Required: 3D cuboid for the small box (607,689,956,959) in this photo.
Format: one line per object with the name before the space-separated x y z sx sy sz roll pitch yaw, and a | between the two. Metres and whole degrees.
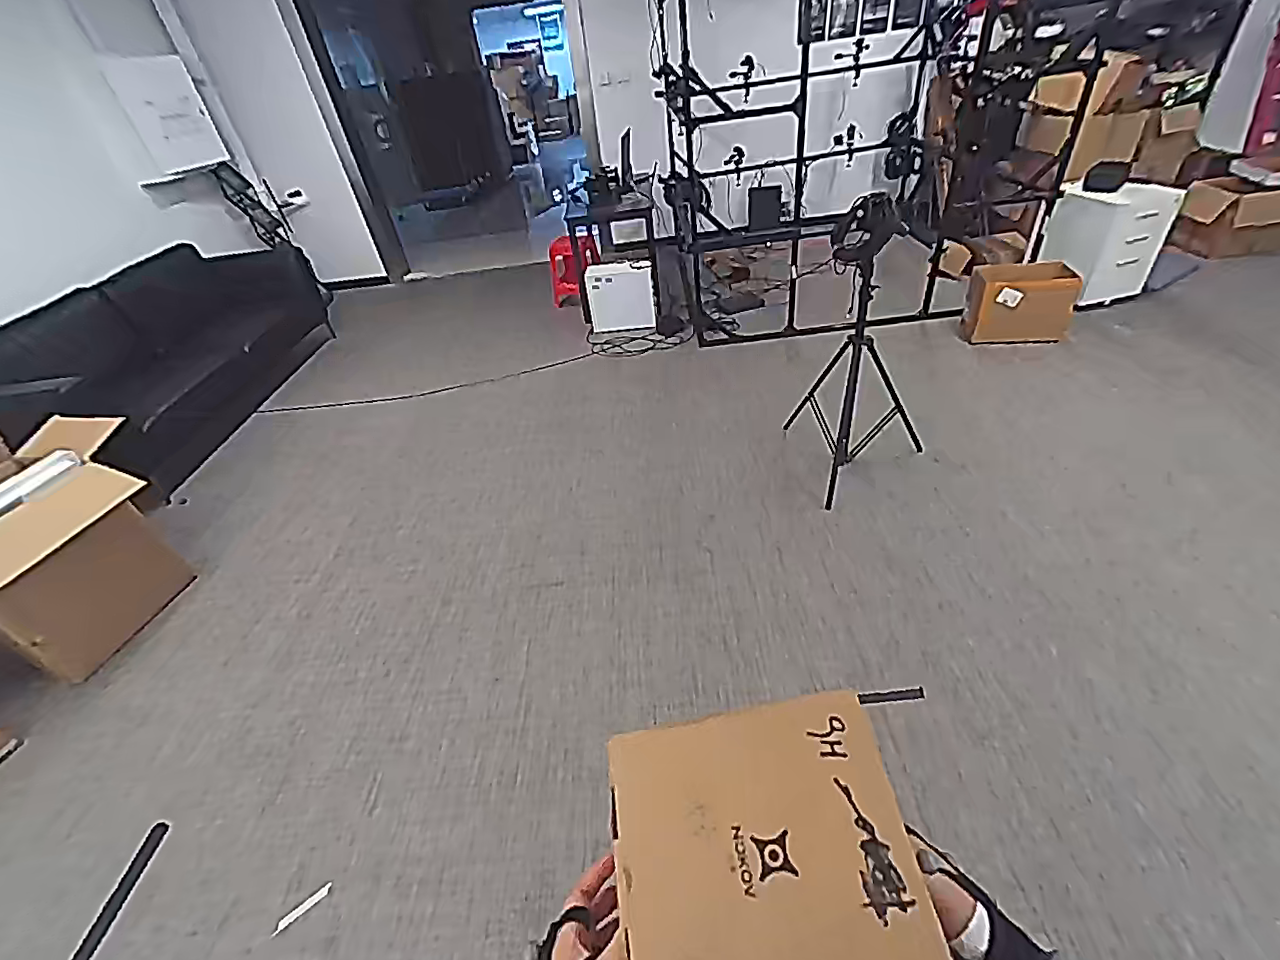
small box | 0.090 0.265 0.380 0.179 0.176 0.168 -14 55 6
